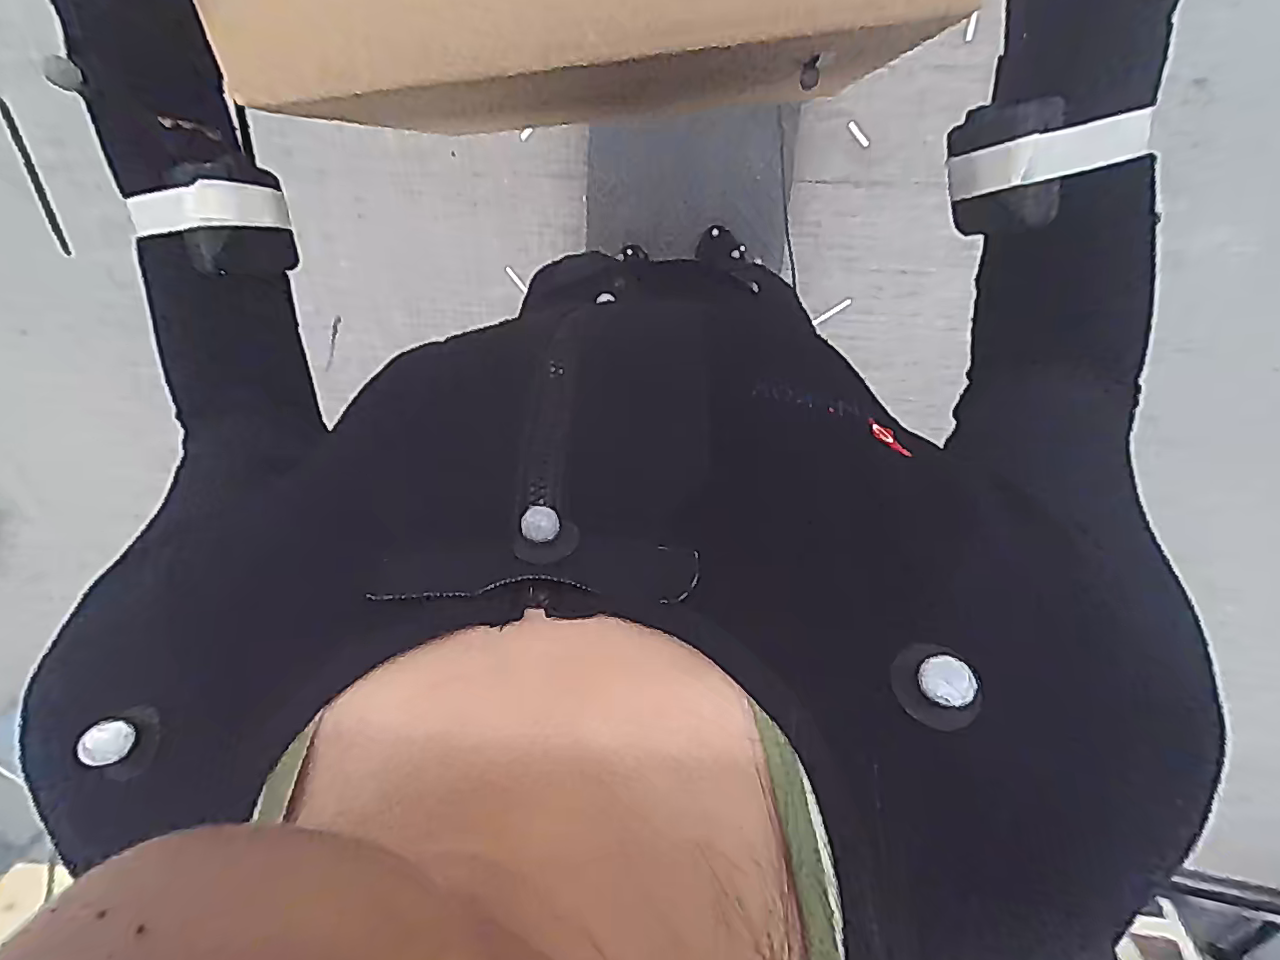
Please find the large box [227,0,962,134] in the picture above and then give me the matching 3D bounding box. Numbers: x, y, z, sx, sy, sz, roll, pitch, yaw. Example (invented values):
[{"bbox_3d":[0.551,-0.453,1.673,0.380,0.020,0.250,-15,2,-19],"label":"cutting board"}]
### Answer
[{"bbox_3d":[-0.029,-0.436,0.357,0.408,0.320,0.320,-2,119,7],"label":"large box"}]
